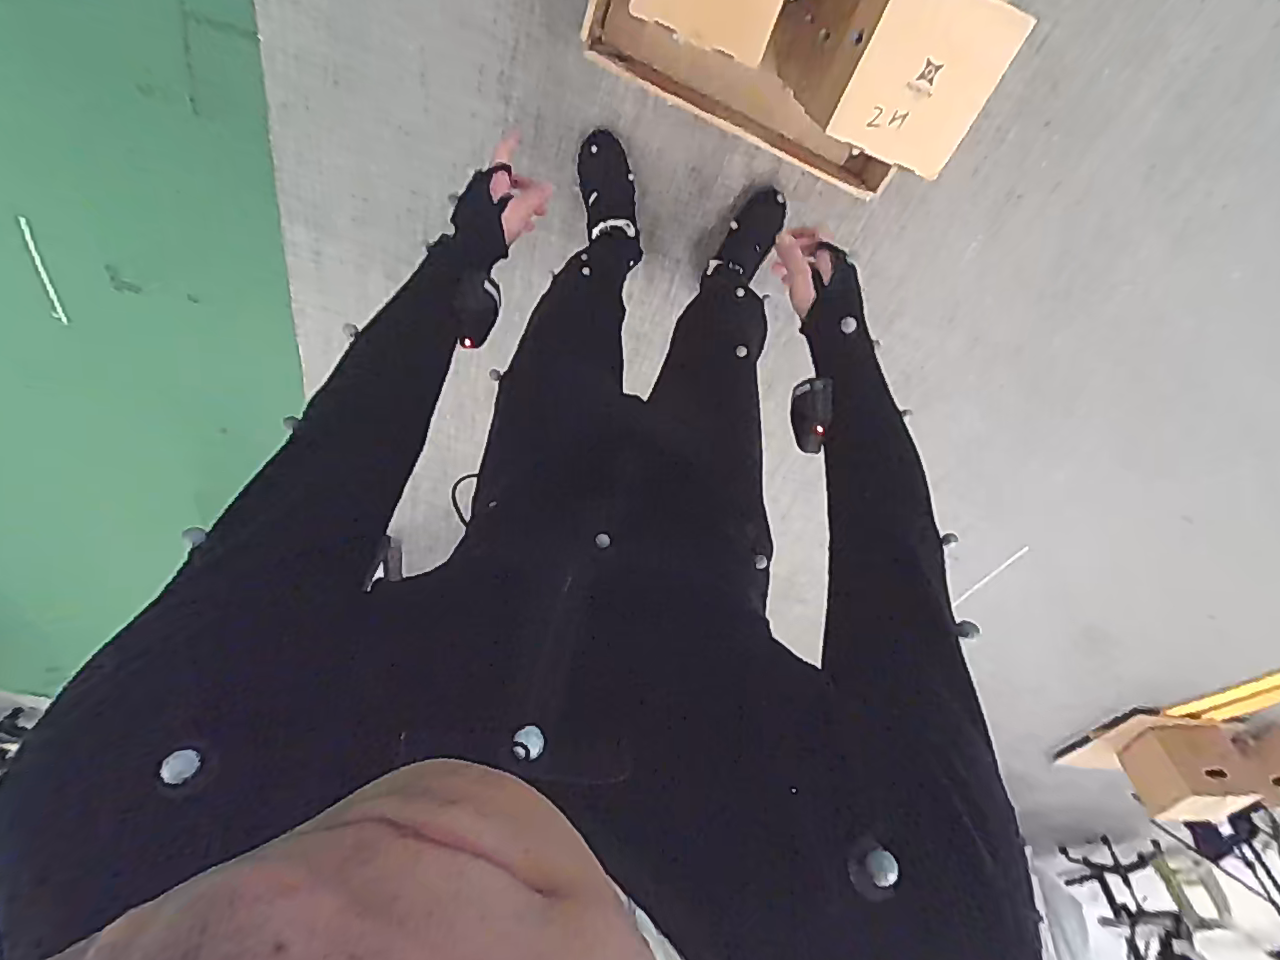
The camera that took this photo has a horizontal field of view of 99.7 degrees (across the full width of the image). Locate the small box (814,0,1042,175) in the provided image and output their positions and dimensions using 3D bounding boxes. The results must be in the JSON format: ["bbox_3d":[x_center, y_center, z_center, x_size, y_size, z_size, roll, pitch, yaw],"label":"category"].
[{"bbox_3d":[0.343,-0.530,0.690,0.168,0.176,0.179,17,131,-9],"label":"small box"}]

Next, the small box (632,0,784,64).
[{"bbox_3d":[0.096,-0.627,0.627,0.168,0.176,0.179,16,132,-10],"label":"small box"}]
